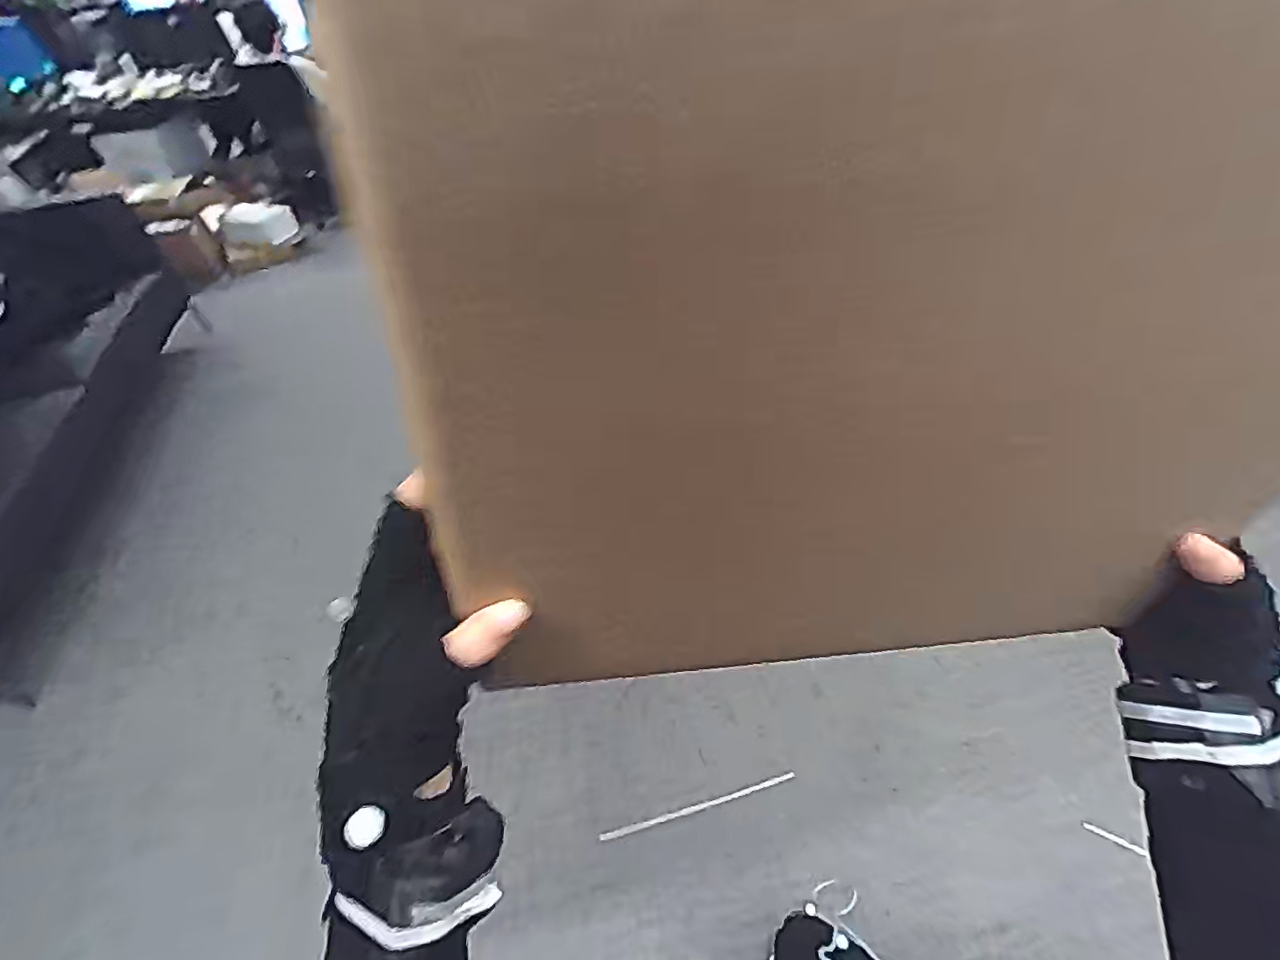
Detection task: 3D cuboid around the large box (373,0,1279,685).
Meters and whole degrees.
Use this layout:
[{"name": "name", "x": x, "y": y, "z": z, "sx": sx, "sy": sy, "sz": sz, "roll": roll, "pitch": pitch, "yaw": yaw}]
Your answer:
[{"name": "large box", "x": 0.102, "y": -0.113, "z": 0.327, "sx": 0.408, "sy": 0.320, "sz": 0.320, "roll": -3, "pitch": 43, "yaw": -11}]
